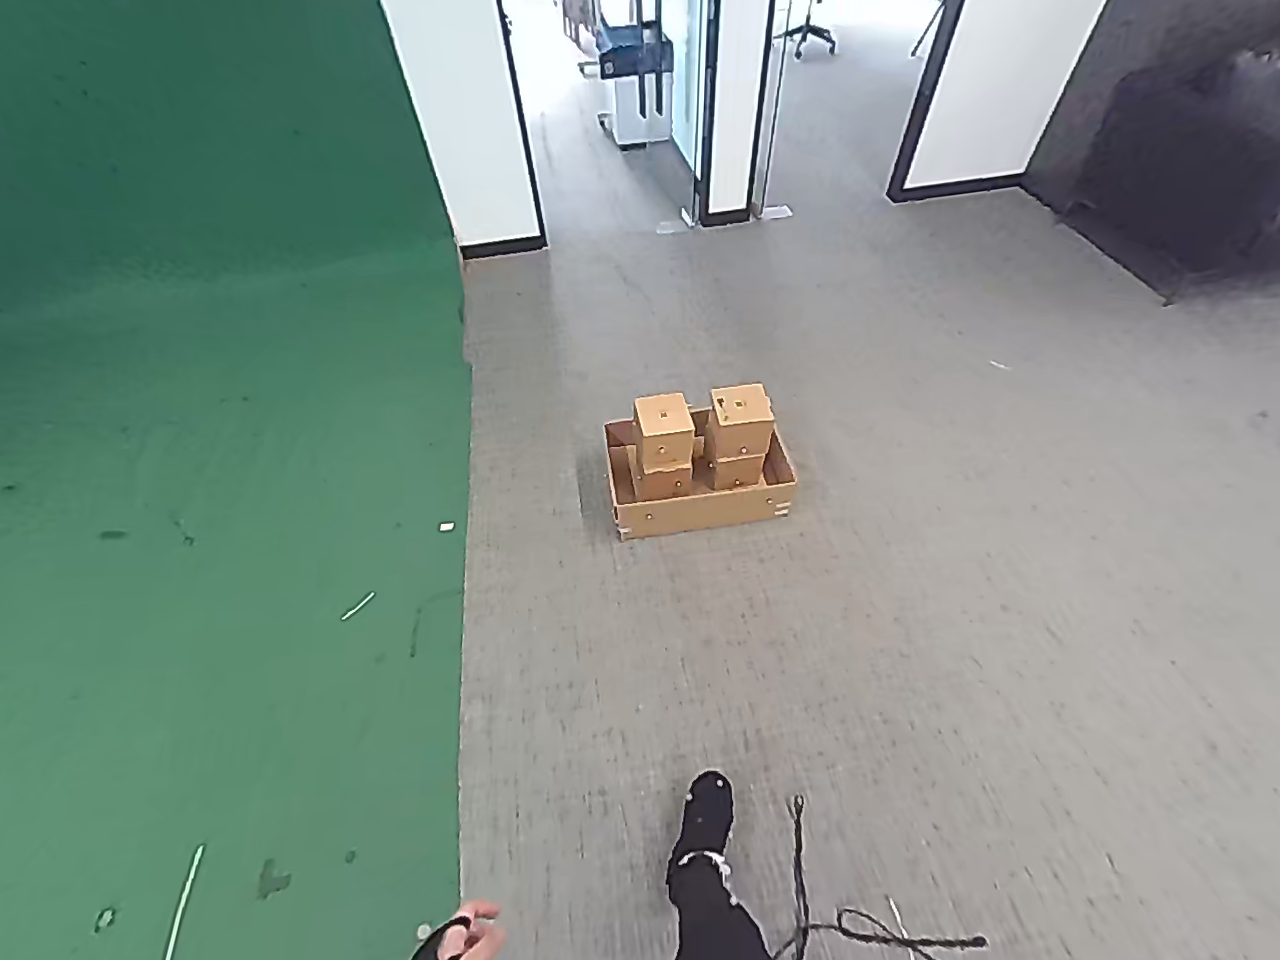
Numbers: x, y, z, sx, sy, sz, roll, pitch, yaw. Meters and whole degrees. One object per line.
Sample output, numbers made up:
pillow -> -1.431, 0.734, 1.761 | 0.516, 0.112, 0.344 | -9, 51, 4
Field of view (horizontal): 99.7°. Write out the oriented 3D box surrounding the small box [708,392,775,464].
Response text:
small box -> 0.330, -0.169, 1.794 | 0.179, 0.176, 0.168 | -6, 52, -2

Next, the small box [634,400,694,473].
small box -> 0.076, -0.138, 1.786 | 0.168, 0.176, 0.179 | -9, 51, -7
